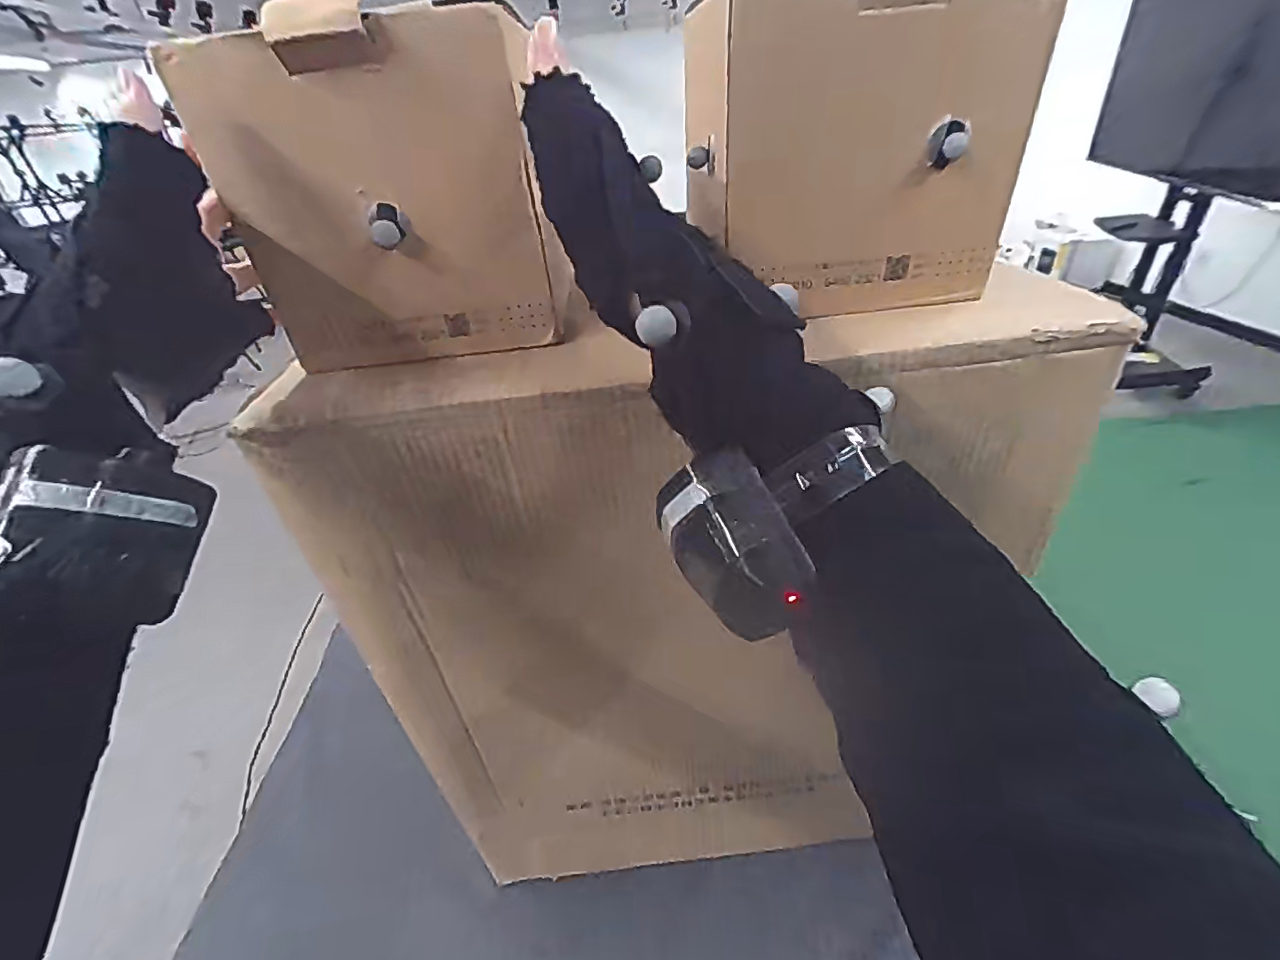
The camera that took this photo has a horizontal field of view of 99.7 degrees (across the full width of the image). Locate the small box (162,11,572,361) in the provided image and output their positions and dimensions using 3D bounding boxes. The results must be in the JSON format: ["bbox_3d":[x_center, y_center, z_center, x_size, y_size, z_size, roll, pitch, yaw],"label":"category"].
[{"bbox_3d":[-0.141,-0.188,0.365,0.168,0.176,0.179,-7,36,0],"label":"small box"}]

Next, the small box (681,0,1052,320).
[{"bbox_3d":[0.122,-0.214,0.368,0.168,0.176,0.179,-5,34,-2],"label":"small box"}]
